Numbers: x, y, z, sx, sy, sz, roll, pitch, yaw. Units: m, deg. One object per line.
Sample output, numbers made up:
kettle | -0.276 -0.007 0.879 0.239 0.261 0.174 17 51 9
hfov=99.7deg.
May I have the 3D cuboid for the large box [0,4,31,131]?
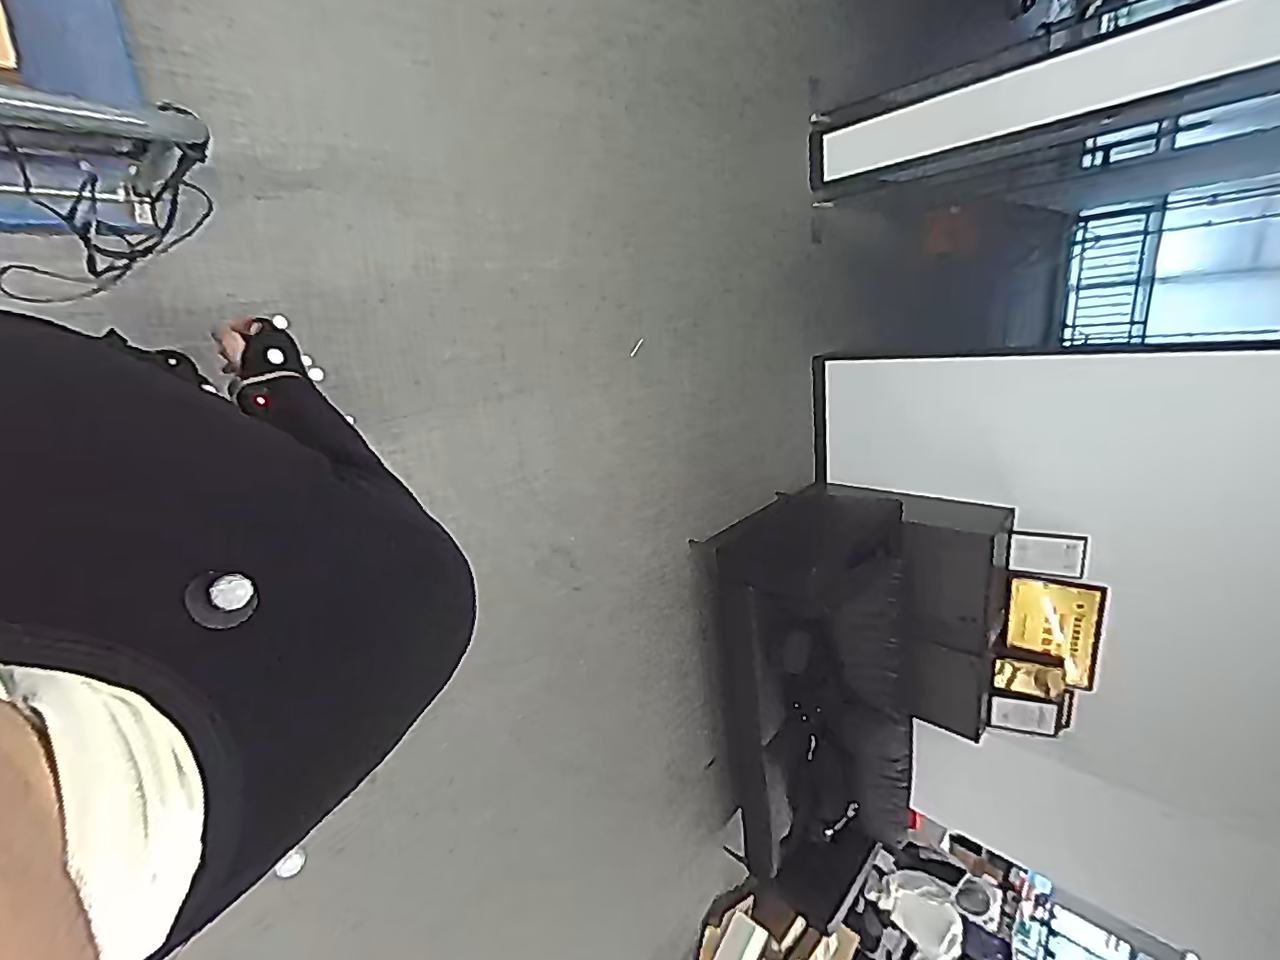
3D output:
large box | -1.073 -0.738 0.686 0.320 0.320 0.408 -17 109 -43
